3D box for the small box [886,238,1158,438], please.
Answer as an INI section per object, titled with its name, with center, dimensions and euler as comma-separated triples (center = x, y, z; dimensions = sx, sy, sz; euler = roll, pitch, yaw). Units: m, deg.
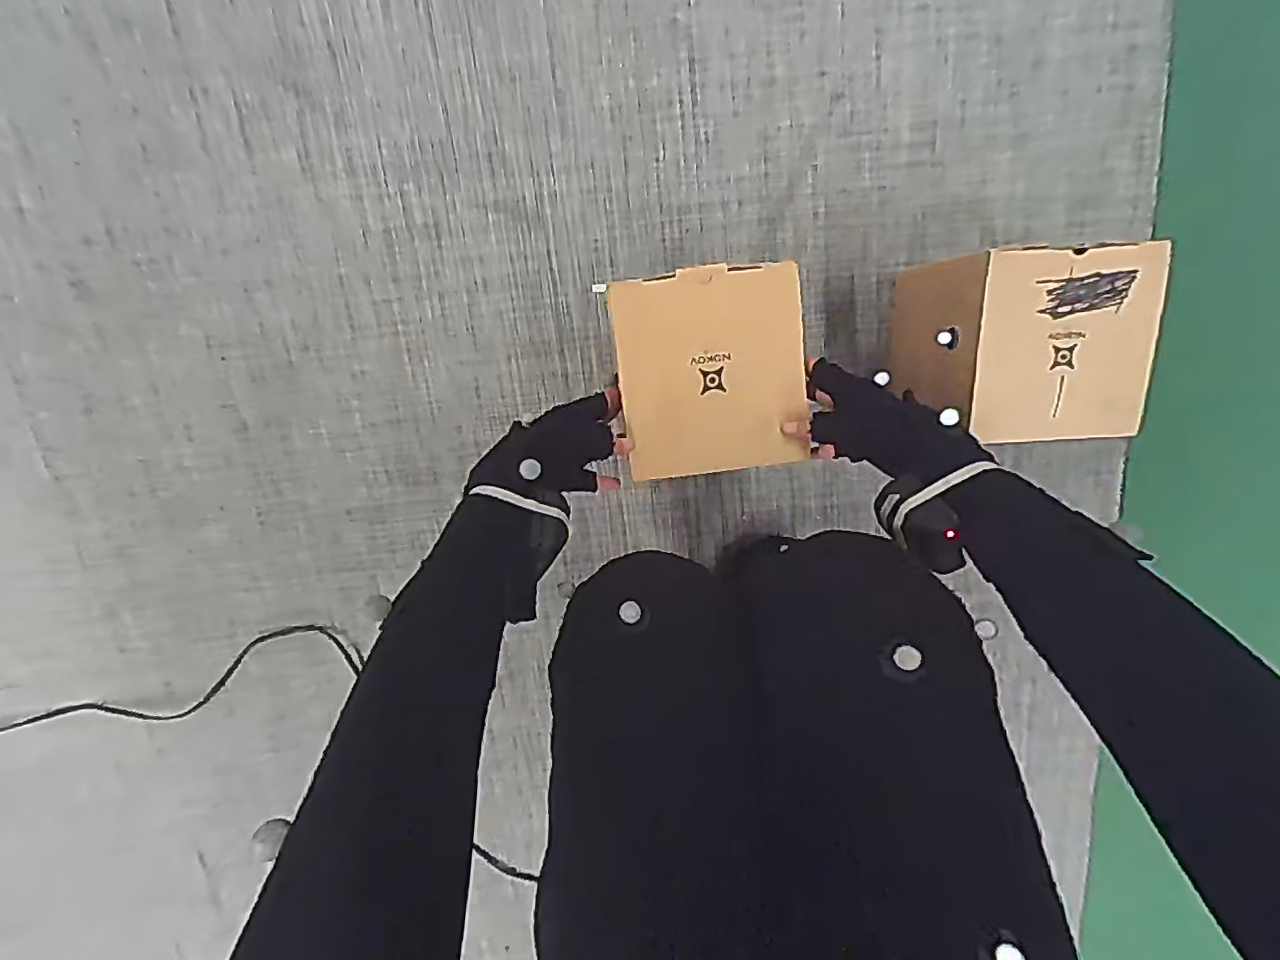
[small box]
center = 0.383, -0.146, 0.578
dimensions = 0.168, 0.176, 0.179
euler = -3, 104, 0
